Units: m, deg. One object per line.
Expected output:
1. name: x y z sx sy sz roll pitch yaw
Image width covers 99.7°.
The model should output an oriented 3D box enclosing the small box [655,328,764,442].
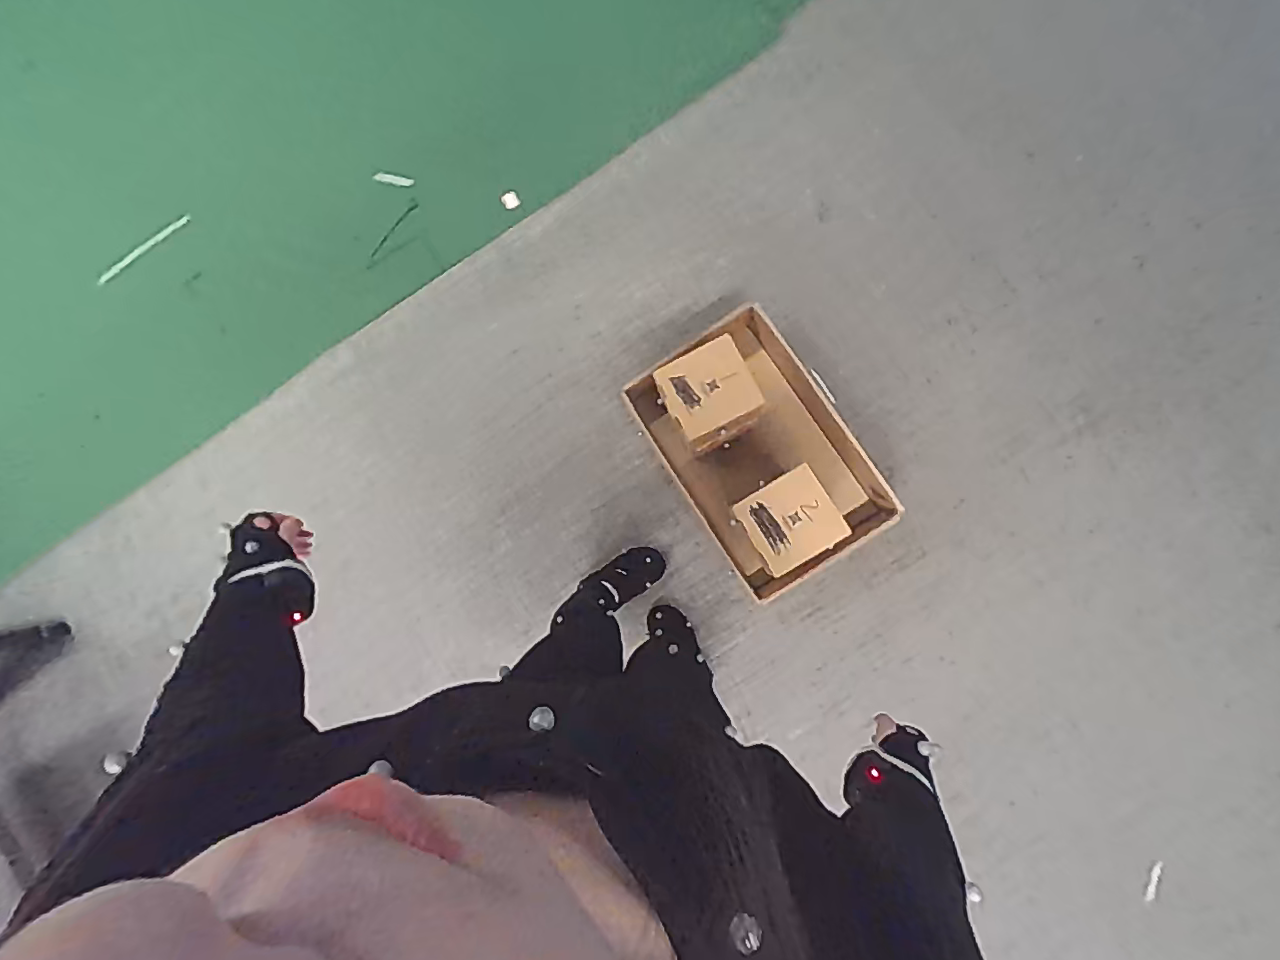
1. small box: 0.149 -0.196 1.176 0.179 0.176 0.168 -26 85 3
